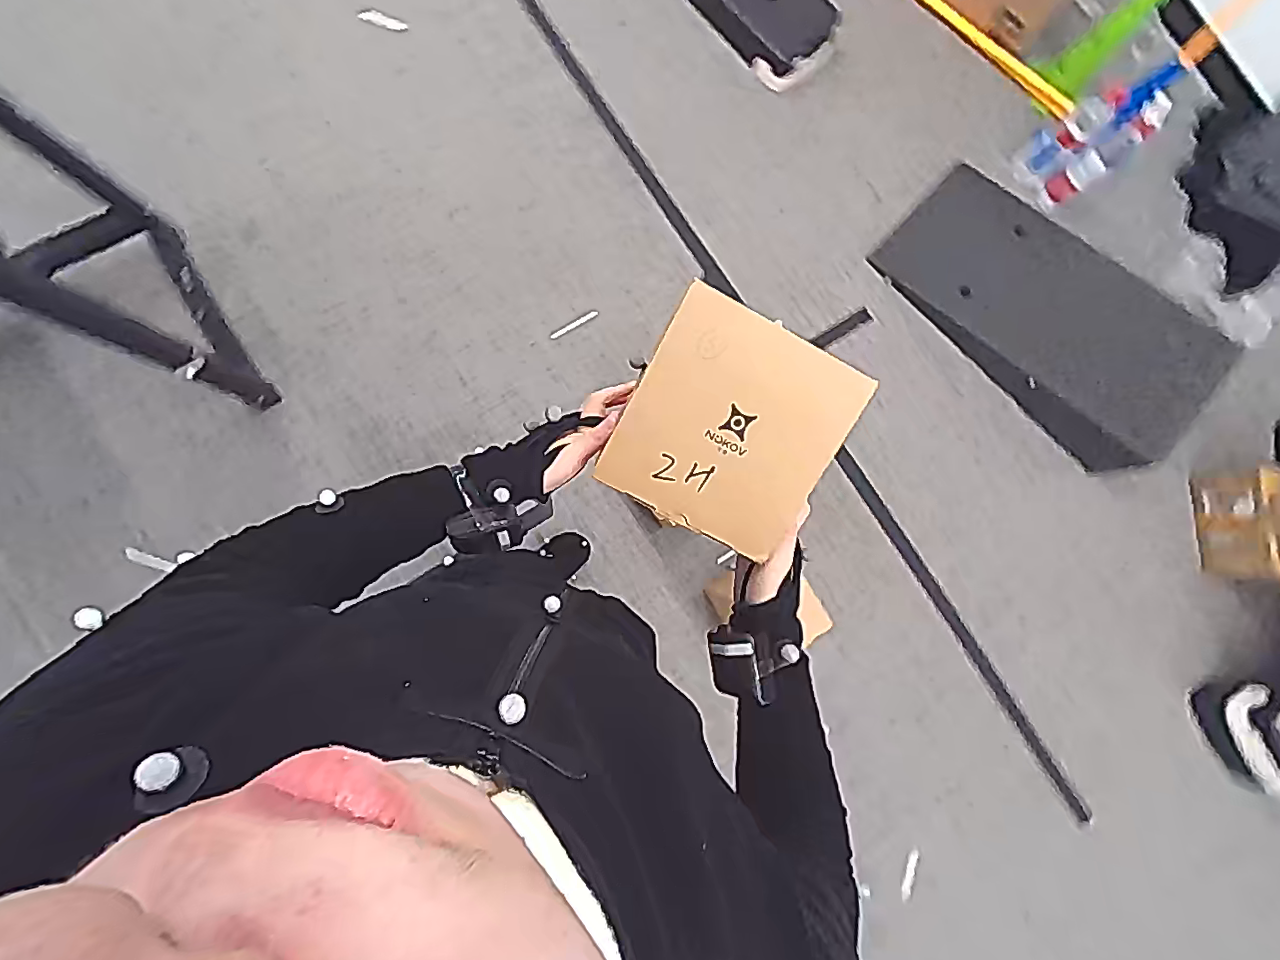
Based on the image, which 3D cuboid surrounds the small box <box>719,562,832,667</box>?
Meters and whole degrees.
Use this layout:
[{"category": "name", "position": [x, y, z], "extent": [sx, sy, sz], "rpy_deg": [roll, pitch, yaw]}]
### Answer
[{"category": "small box", "position": [0.314, 0.310, 1.288], "extent": [0.168, 0.176, 0.179], "rpy_deg": [-31, 89, -9]}]

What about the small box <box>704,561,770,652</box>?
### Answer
[{"category": "small box", "position": [0.295, 0.330, 1.449], "extent": [0.168, 0.176, 0.179], "rpy_deg": [-29, 87, -9]}]

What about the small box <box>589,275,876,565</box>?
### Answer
[{"category": "small box", "position": [0.069, -0.059, 0.494], "extent": [0.168, 0.176, 0.179], "rpy_deg": [27, 104, -6]}]
